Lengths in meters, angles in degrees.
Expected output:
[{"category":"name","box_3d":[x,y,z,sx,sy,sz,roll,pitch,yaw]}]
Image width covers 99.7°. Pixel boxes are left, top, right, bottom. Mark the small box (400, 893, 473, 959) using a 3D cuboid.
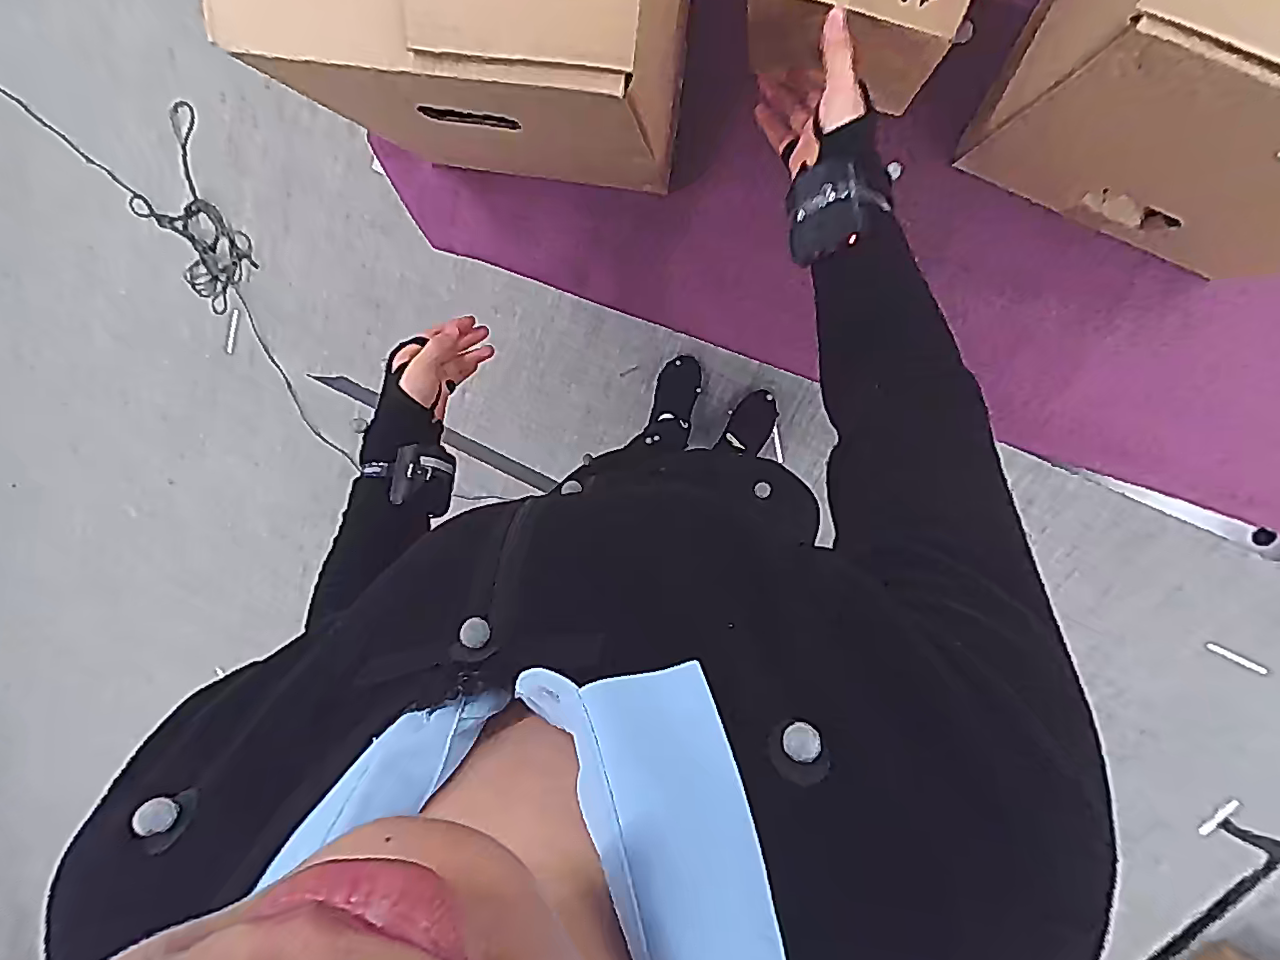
[{"category":"small box","box_3d":[-0.686,1.556,1.821,0.168,0.176,0.179,23,107,4]}]
